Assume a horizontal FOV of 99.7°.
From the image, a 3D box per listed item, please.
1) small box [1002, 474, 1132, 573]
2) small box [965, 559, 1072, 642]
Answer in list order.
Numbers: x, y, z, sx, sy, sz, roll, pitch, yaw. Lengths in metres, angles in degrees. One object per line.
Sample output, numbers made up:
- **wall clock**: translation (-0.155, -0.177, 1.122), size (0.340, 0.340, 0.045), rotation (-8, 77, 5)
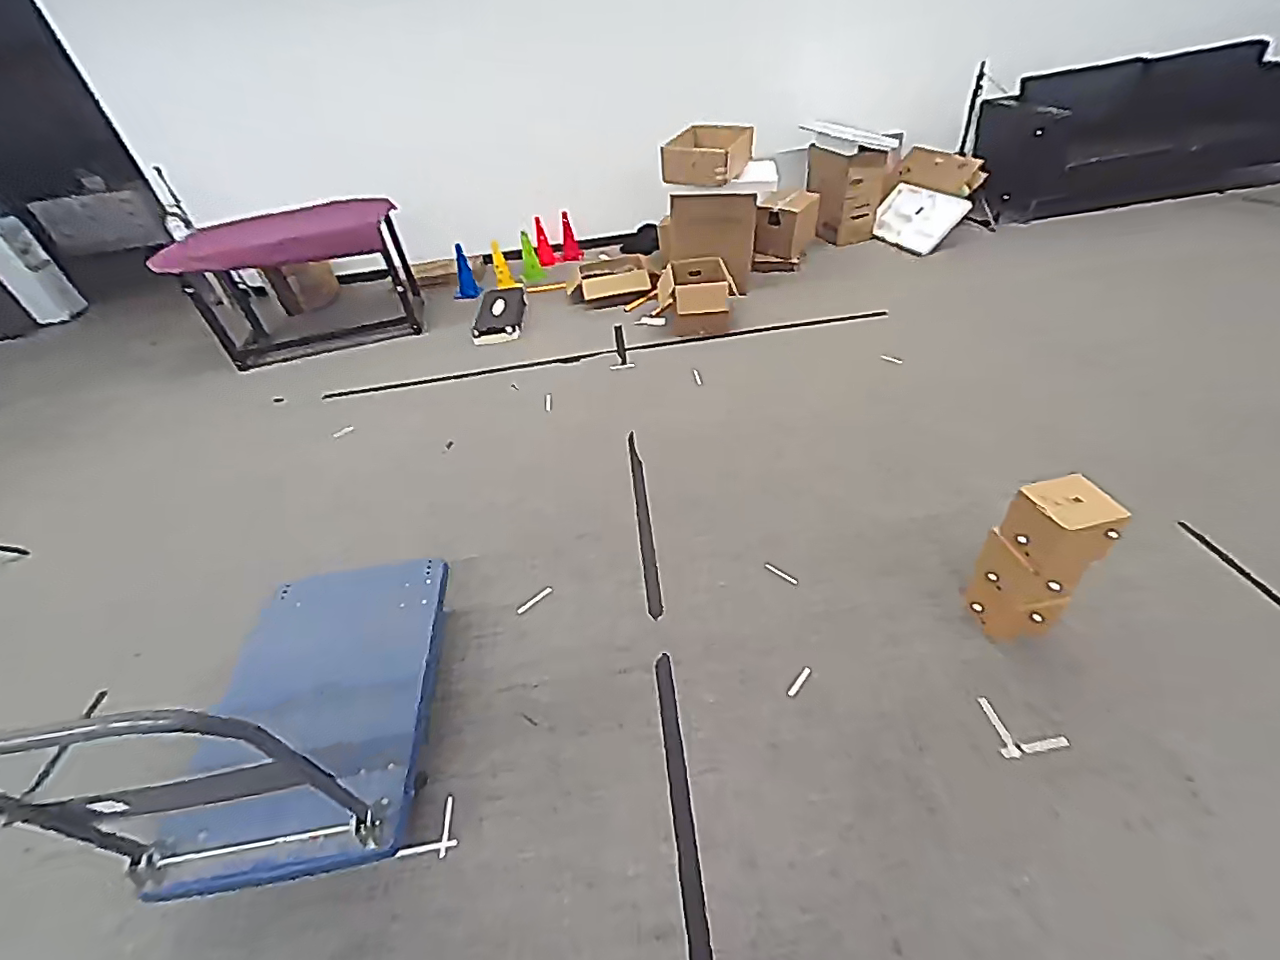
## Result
- **small box**: translation (1.088, 0.113, 1.396), size (0.179, 0.176, 0.168), rotation (-13, 40, -4)
- **small box**: translation (1.117, 0.359, 1.613), size (0.179, 0.176, 0.168), rotation (-10, 41, -2)
